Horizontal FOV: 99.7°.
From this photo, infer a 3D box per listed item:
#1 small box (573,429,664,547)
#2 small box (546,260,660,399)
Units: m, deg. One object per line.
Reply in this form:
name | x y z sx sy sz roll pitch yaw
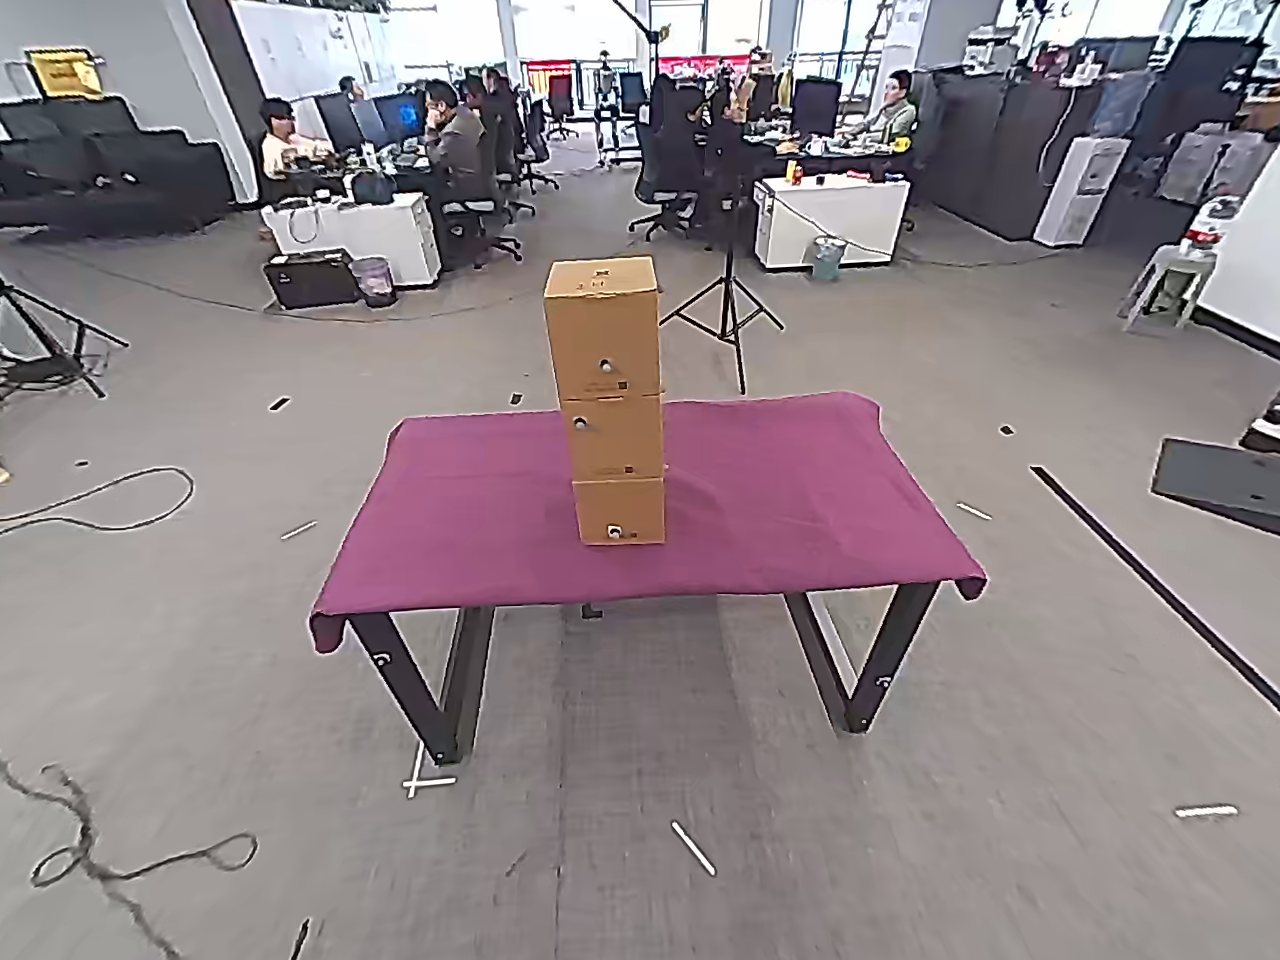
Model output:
small box | -0.039 0.015 1.087 0.168 0.176 0.179 -3 39 0
small box | -0.054 -0.248 0.889 0.168 0.176 0.179 -4 38 0
